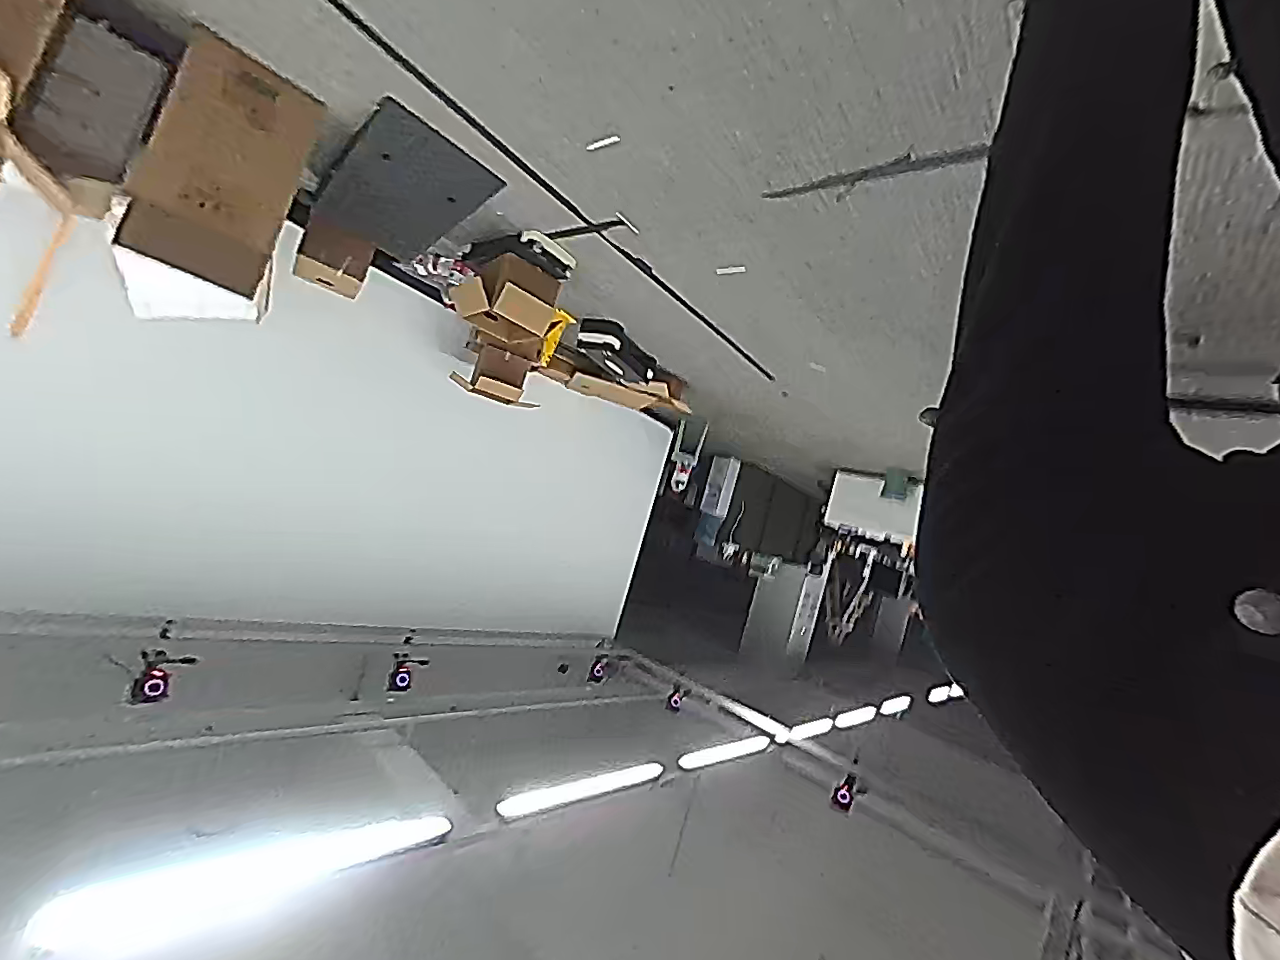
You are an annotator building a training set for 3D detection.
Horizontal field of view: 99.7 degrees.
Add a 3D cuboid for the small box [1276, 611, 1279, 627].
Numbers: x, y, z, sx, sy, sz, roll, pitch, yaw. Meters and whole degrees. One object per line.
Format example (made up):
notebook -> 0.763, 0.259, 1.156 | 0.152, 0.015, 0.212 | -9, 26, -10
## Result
small box -> 2.171, 0.405, 1.702 | 0.168, 0.176, 0.179 | 14, 175, 35
